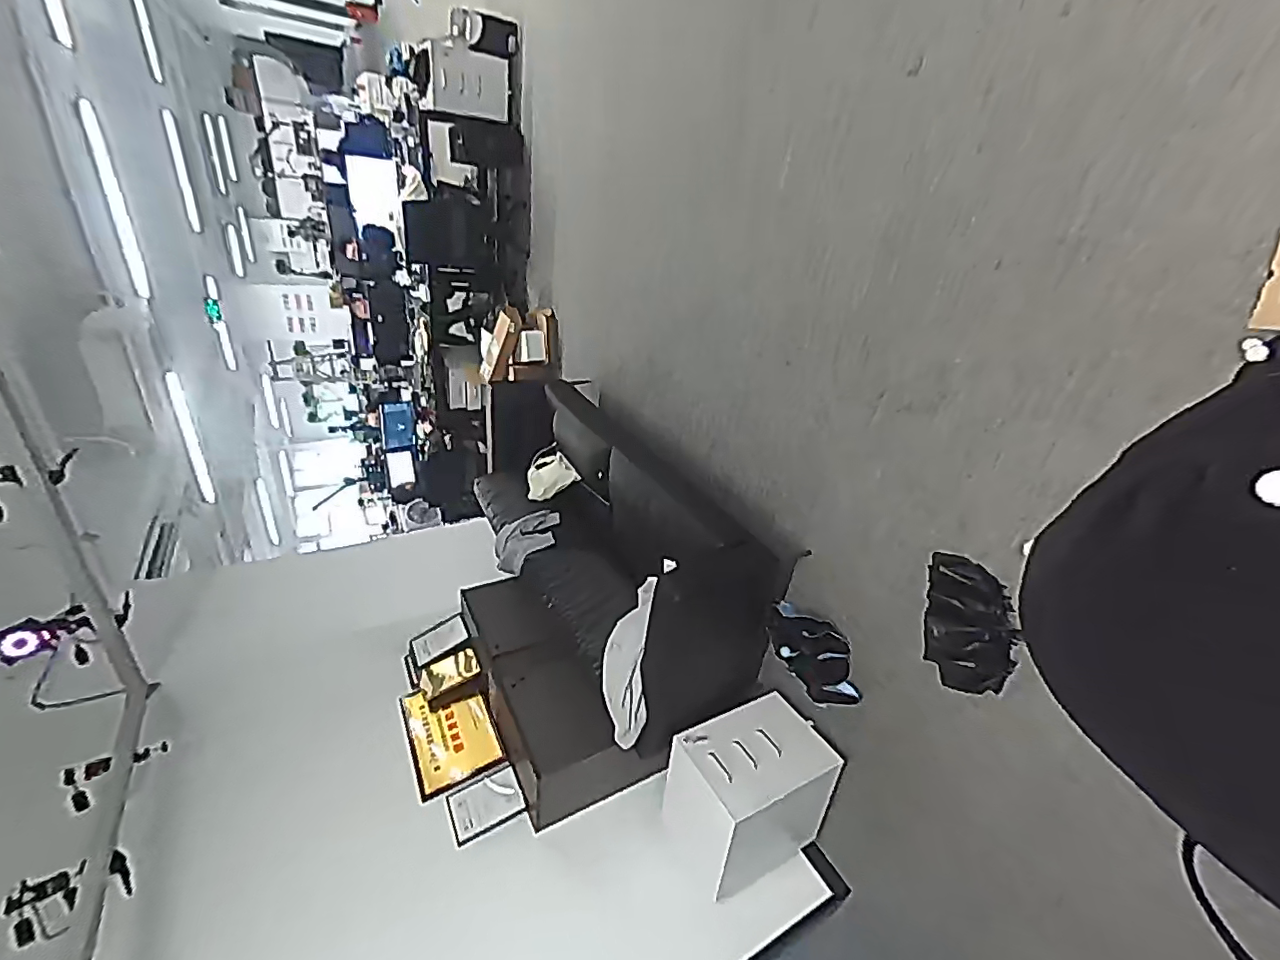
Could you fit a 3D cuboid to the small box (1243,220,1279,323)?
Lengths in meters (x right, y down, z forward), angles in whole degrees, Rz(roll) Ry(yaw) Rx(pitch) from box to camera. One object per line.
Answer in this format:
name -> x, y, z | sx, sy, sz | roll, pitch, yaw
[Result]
small box -> 1.079, -0.316, 0.809 | 0.179, 0.176, 0.168 | 29, 123, 53
